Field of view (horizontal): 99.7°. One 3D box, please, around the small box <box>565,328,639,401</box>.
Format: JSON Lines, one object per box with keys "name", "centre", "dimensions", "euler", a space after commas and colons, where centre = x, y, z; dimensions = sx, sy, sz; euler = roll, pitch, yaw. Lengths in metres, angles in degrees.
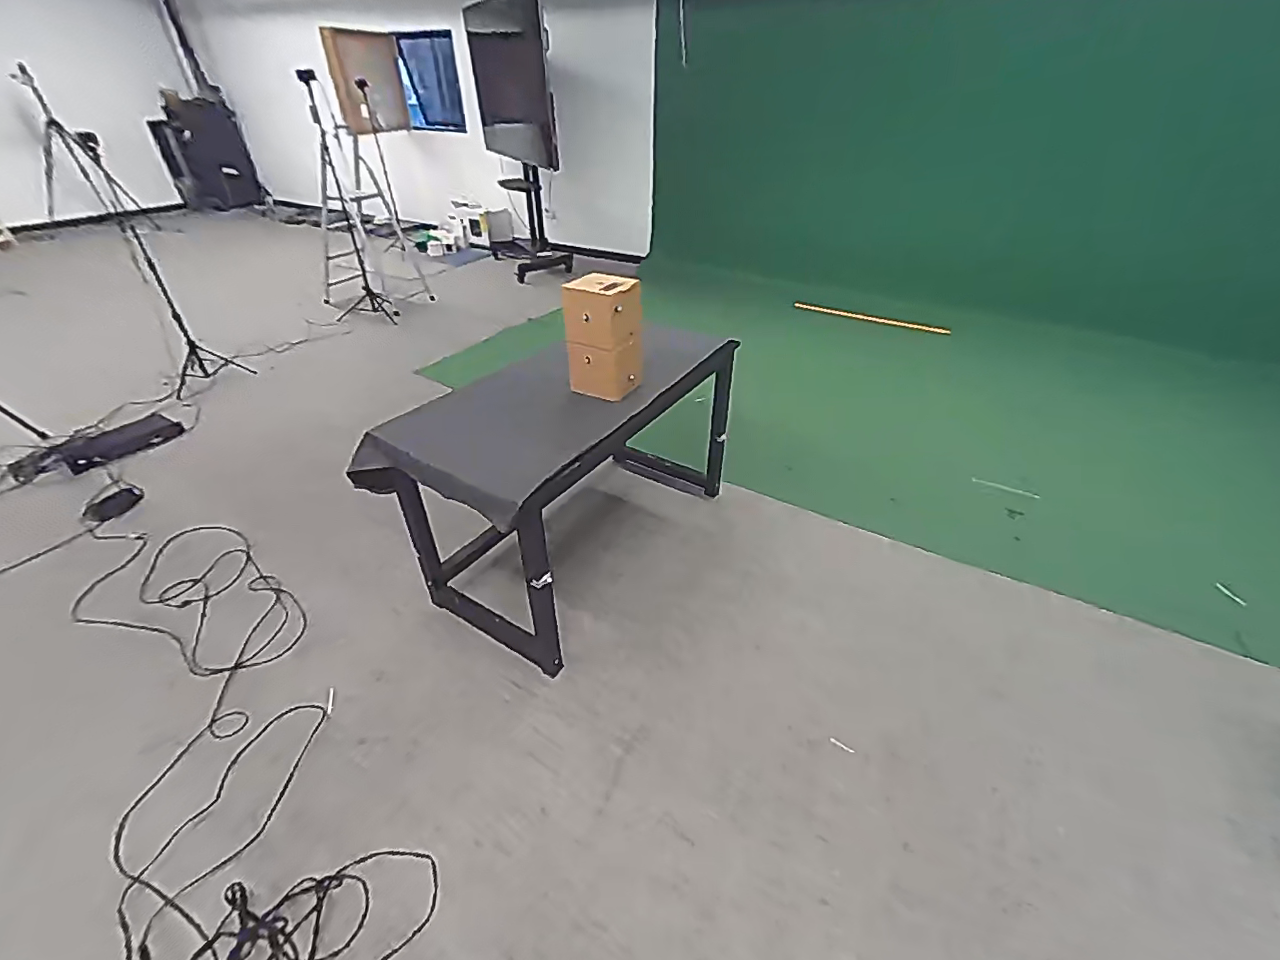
{"name": "small box", "centre": [-0.118, -0.367, 1.717], "dimensions": [0.179, 0.176, 0.168], "euler": [17, 39, 23]}
